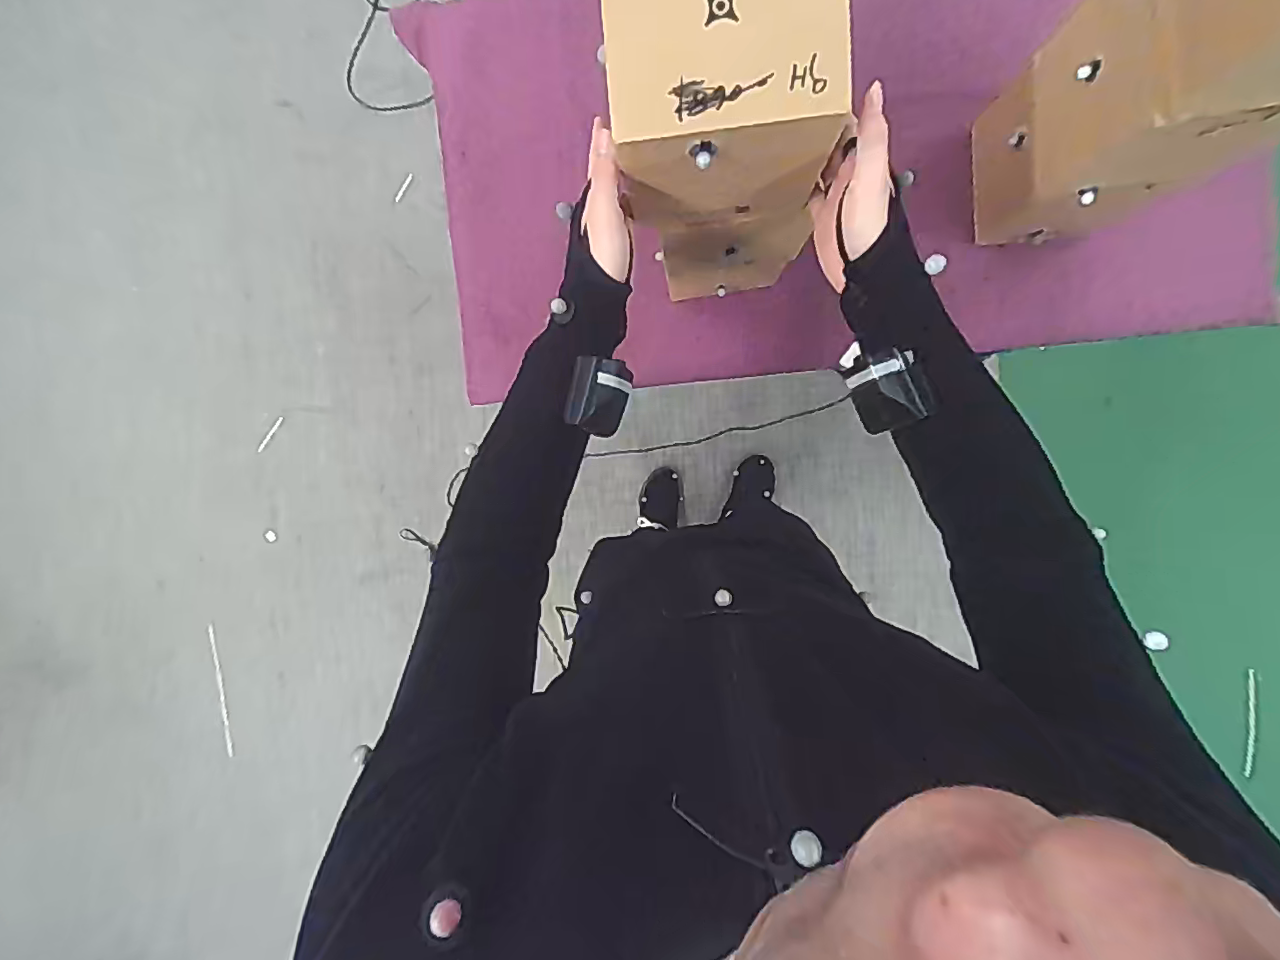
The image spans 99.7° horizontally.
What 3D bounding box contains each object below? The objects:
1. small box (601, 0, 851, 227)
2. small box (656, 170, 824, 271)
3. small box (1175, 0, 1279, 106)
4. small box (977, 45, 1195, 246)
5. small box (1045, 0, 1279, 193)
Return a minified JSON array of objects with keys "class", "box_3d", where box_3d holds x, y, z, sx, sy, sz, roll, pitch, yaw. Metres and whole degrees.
[{"class":"small box","box_3d":[0.062,-0.332,0.437,0.168,0.176,0.179,-4,95,7]},{"class":"small box","box_3d":[0.097,-0.344,0.599,0.168,0.176,0.179,-7,95,6]},{"class":"small box","box_3d":[0.534,-0.401,0.381,0.168,0.176,0.179,-5,92,9]},{"class":"small box","box_3d":[0.565,-0.428,0.704,0.168,0.176,0.179,-2,95,8]},{"class":"small box","box_3d":[0.544,-0.412,0.543,0.168,0.176,0.179,-3,93,8]}]
